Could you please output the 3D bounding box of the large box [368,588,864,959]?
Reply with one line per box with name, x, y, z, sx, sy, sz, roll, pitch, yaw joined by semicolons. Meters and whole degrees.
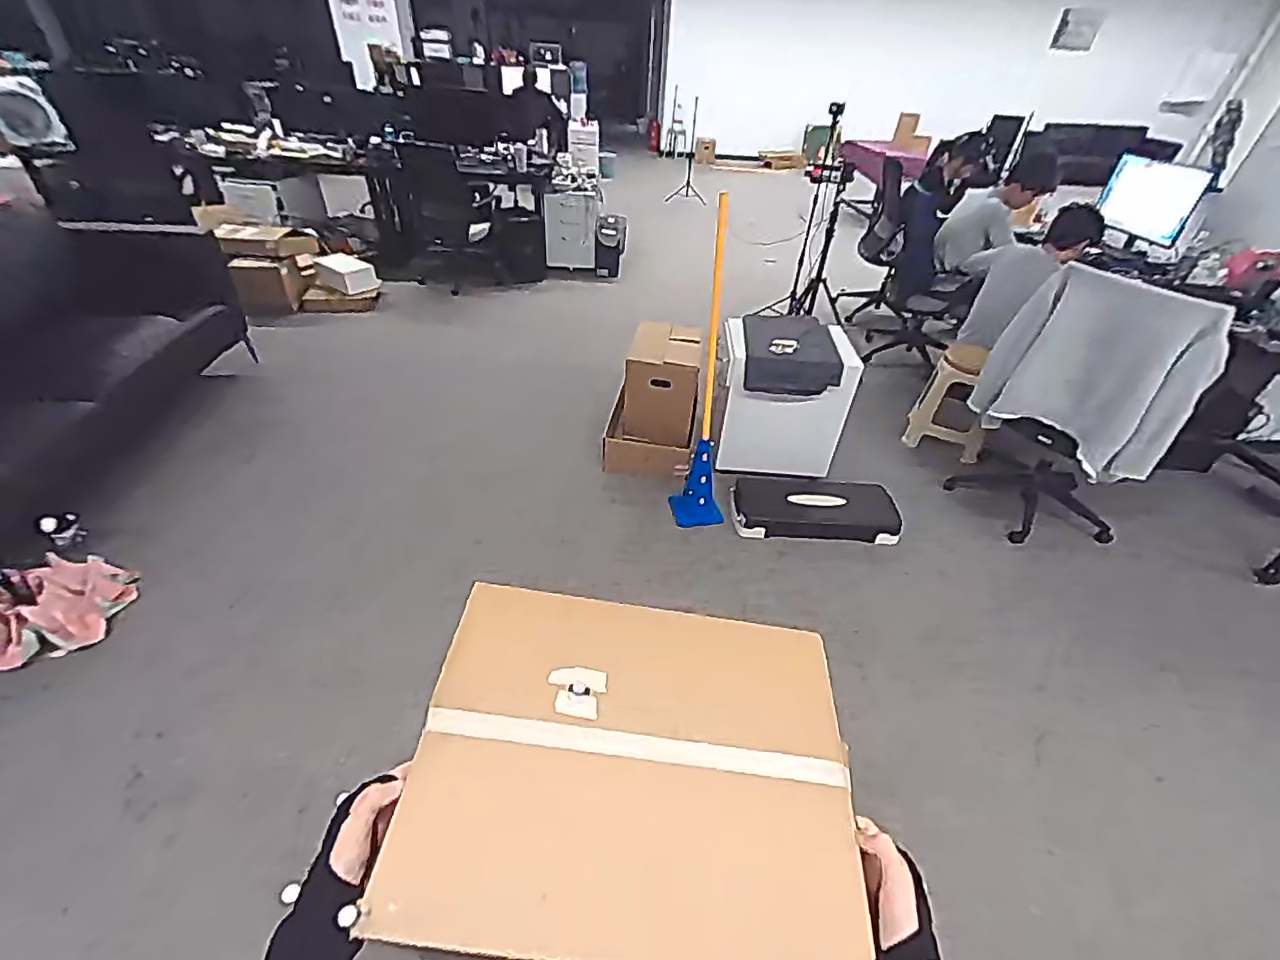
large box;-0.019;0.360;0.634;0.408;0.320;0.320;8;46;-1
